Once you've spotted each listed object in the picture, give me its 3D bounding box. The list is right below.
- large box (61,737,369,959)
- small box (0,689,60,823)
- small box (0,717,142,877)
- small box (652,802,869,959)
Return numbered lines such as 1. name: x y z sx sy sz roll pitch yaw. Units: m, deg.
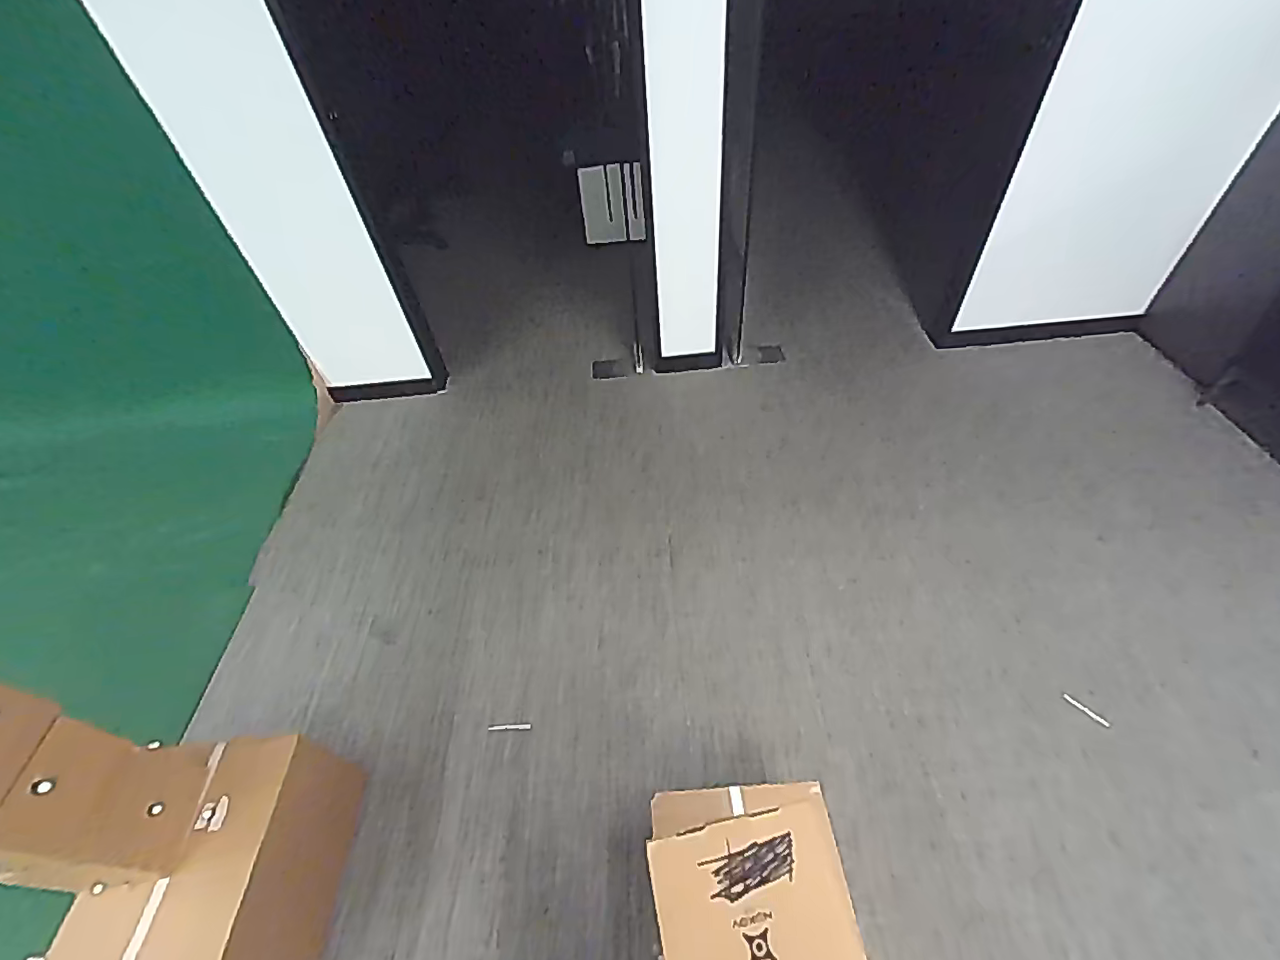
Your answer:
1. large box: -0.814 0.796 1.094 0.320 0.320 0.408 -6 47 1
2. small box: -0.957 0.377 0.719 0.168 0.176 0.179 -7 49 5
3. small box: -0.940 0.491 0.835 0.168 0.176 0.179 -8 48 3
4. small box: 0.115 0.446 0.520 0.168 0.176 0.179 -14 45 -1
